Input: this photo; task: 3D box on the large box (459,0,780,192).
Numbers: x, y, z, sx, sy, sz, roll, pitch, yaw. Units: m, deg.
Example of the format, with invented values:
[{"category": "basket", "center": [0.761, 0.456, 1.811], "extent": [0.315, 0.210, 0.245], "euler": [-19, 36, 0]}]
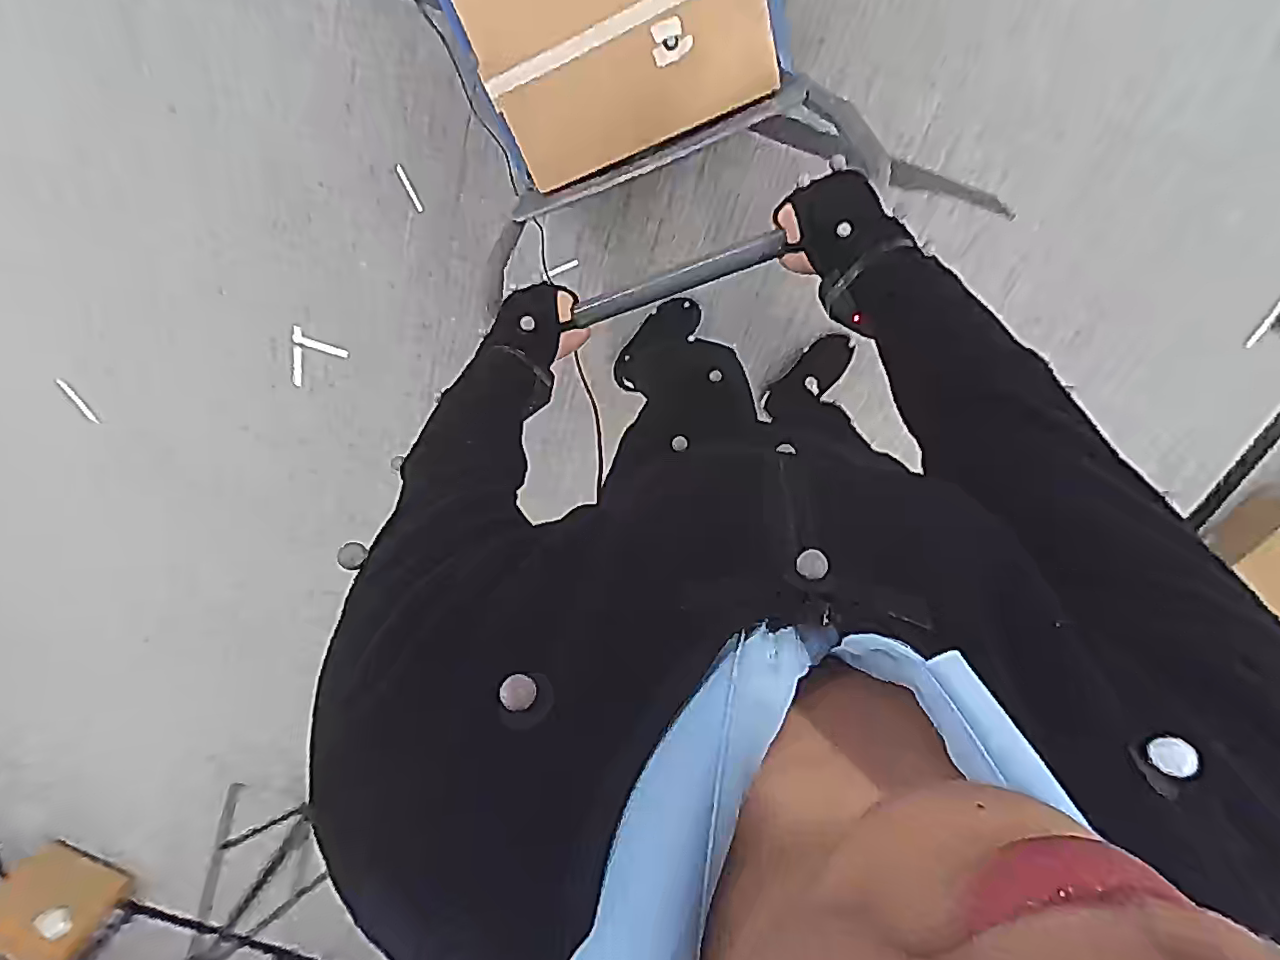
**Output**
[{"category": "large box", "center": [-0.027, -0.741, 0.890], "extent": [0.408, 0.320, 0.320], "euler": [-17, 127, 14]}]
